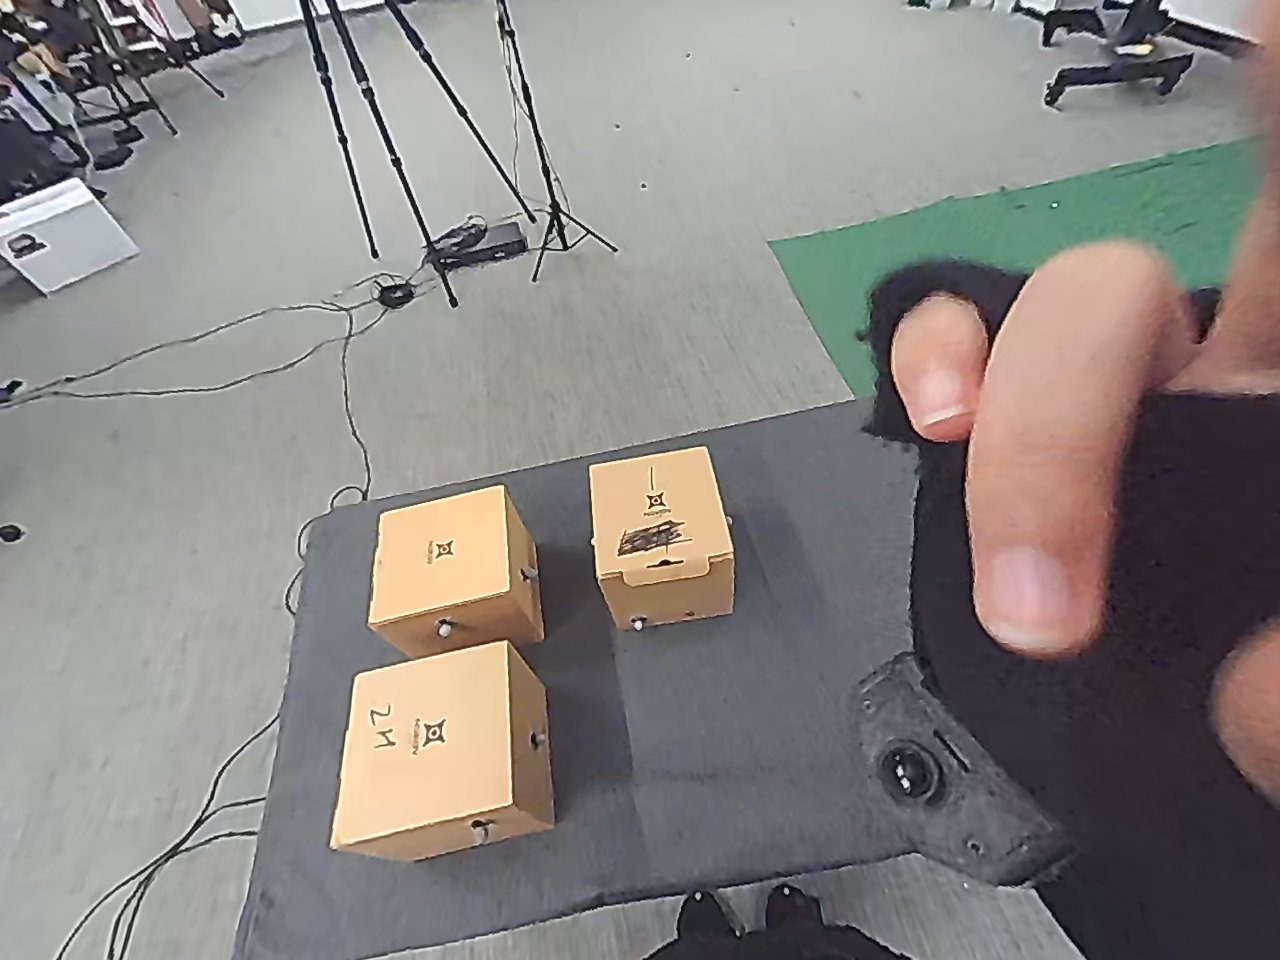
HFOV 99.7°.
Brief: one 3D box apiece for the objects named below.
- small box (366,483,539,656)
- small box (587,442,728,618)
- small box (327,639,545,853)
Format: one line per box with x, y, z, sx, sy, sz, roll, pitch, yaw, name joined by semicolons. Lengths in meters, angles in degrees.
-0.246;0.132;0.751;0.179;0.176;0.168;-14;53;-1;small box
0.026;0.077;0.746;0.168;0.176;0.179;-9;52;2;small box
-0.210;0.303;0.611;0.179;0.176;0.168;-13;51;-1;small box
